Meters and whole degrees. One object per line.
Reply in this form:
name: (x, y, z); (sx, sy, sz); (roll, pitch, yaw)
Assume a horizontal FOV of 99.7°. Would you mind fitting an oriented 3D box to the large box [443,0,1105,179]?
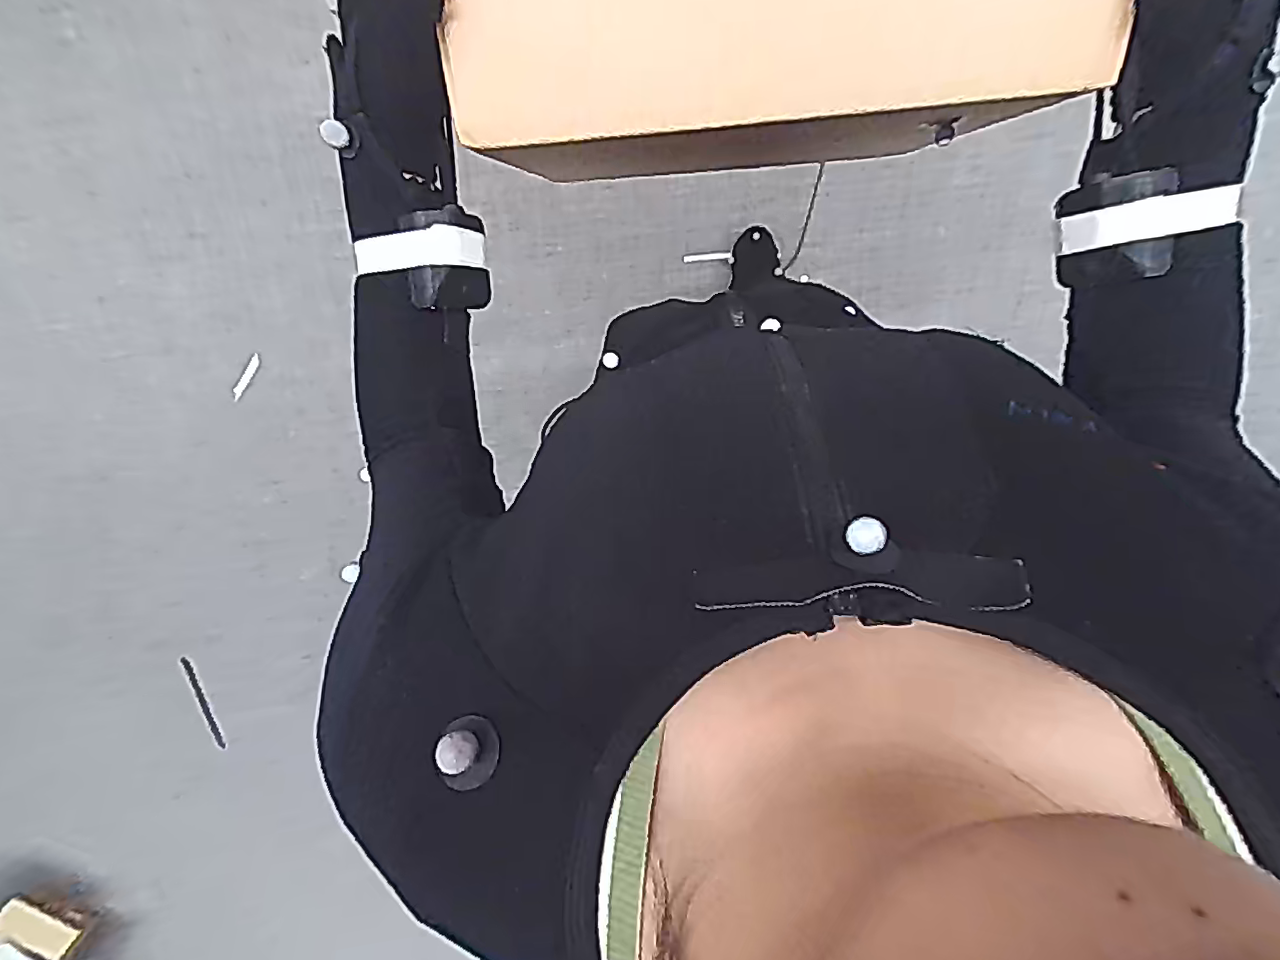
large box: (0.077, -0.434, 0.421); (0.408, 0.320, 0.320); (-3, 114, 4)
